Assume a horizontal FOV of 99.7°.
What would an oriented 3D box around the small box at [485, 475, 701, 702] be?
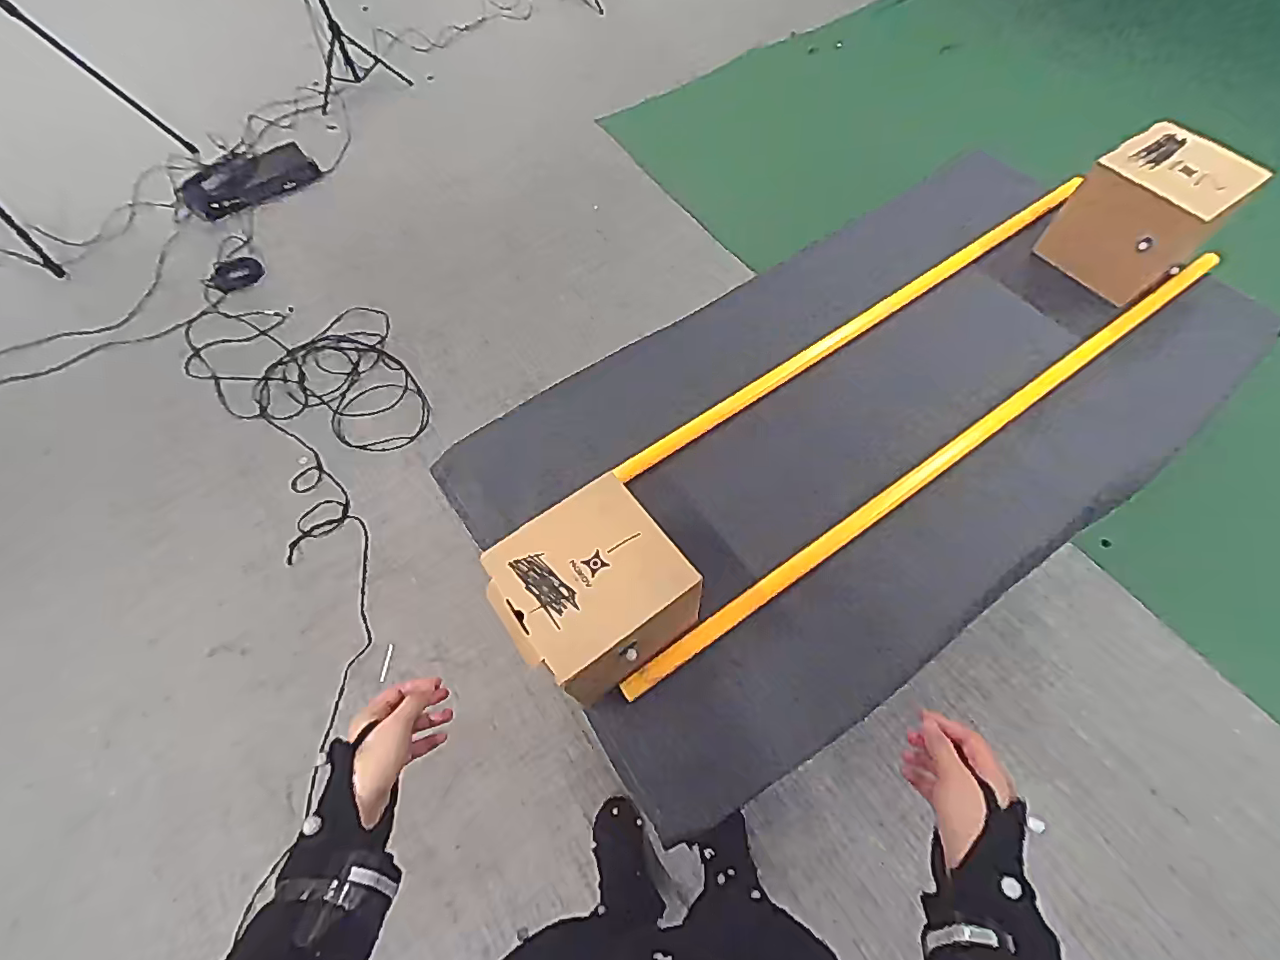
[{"bbox_3d":[-0.046,0.133,0.630,0.179,0.176,0.168,-34,65,-15],"label":"small box"}]
